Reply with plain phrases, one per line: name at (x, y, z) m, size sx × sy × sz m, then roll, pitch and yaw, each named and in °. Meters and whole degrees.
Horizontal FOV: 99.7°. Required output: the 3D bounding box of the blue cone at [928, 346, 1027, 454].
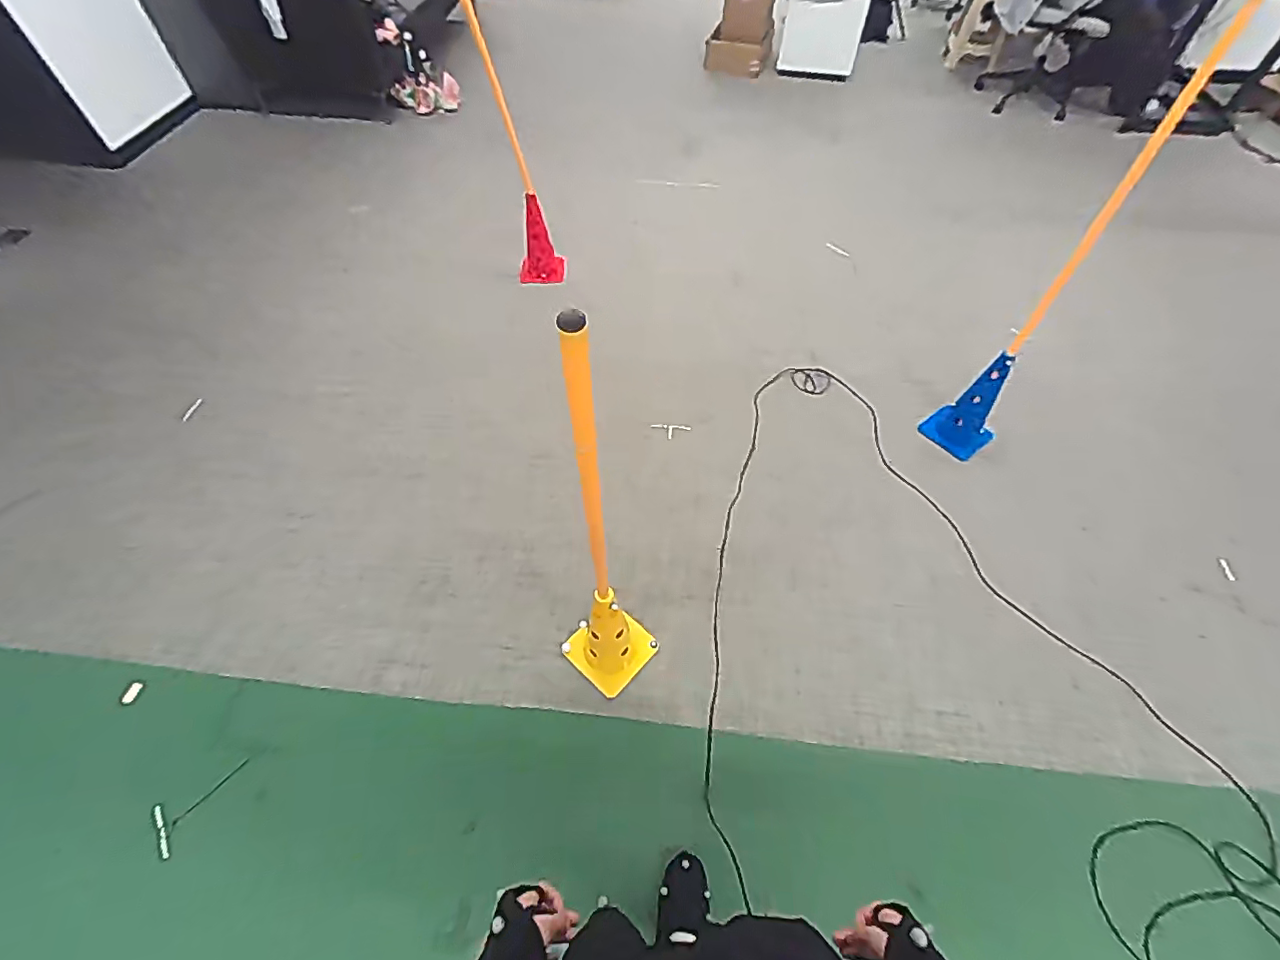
blue cone at (1.138, -0.286, 1.781) m, size 0.193 × 0.380 × 0.192 m, roll -32°, pitch 60°, yaw -24°
